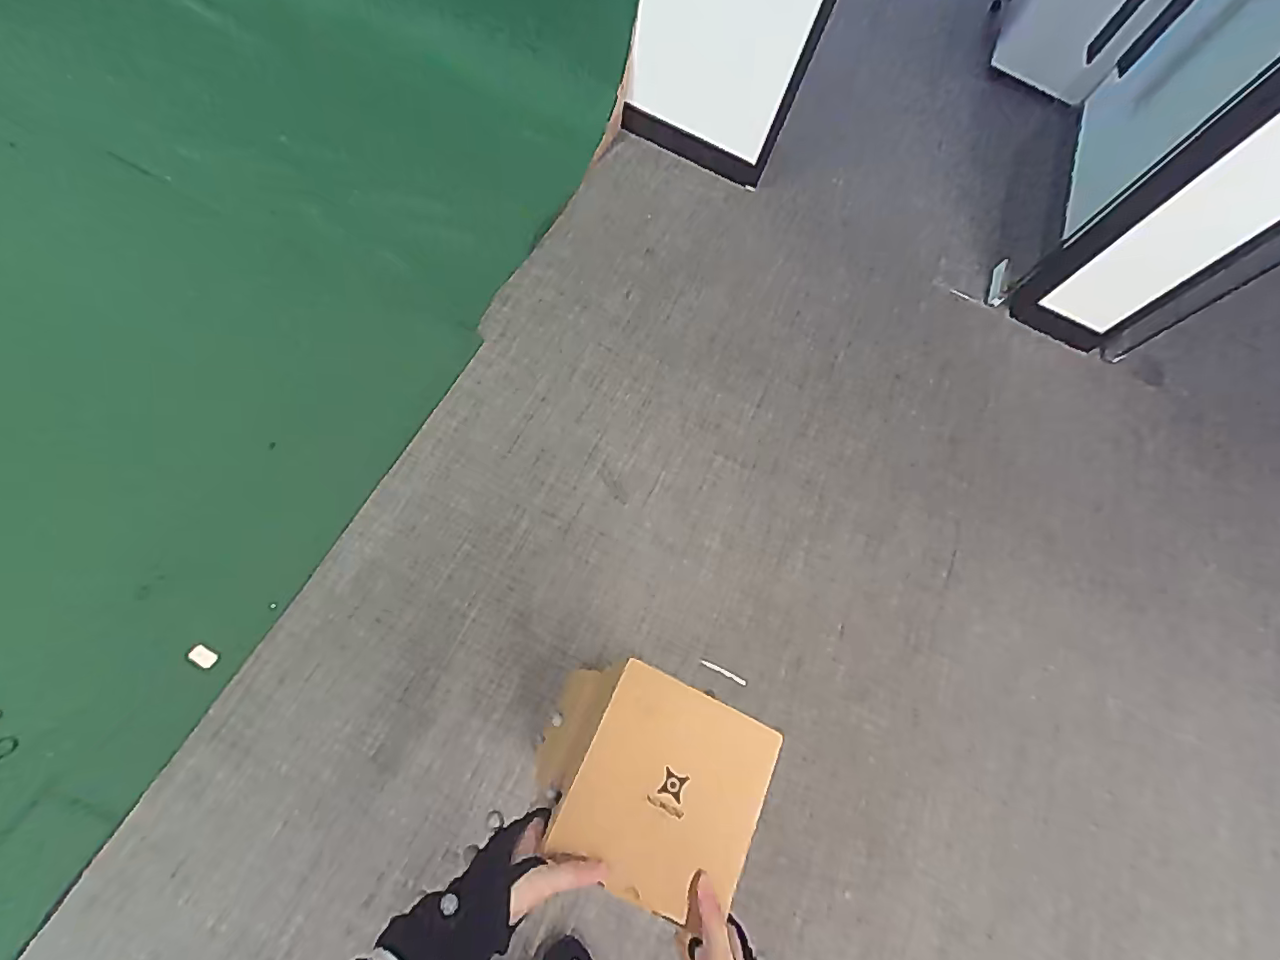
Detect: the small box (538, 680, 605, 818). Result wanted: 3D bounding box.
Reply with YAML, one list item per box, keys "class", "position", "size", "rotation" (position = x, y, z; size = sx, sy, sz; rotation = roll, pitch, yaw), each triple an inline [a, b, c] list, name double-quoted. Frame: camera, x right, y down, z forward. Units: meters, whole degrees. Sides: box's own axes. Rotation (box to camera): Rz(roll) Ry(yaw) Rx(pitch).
- class: "small box"
  position: [-0.022, 0.384, 0.732]
  size: [0.179, 0.176, 0.168]
  rotation: [24, 67, 1]

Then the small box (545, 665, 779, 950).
- class: "small box"
  position: [0.012, 0.311, 0.554]
  size: [0.168, 0.176, 0.179]
  rotation: [27, 66, 1]
